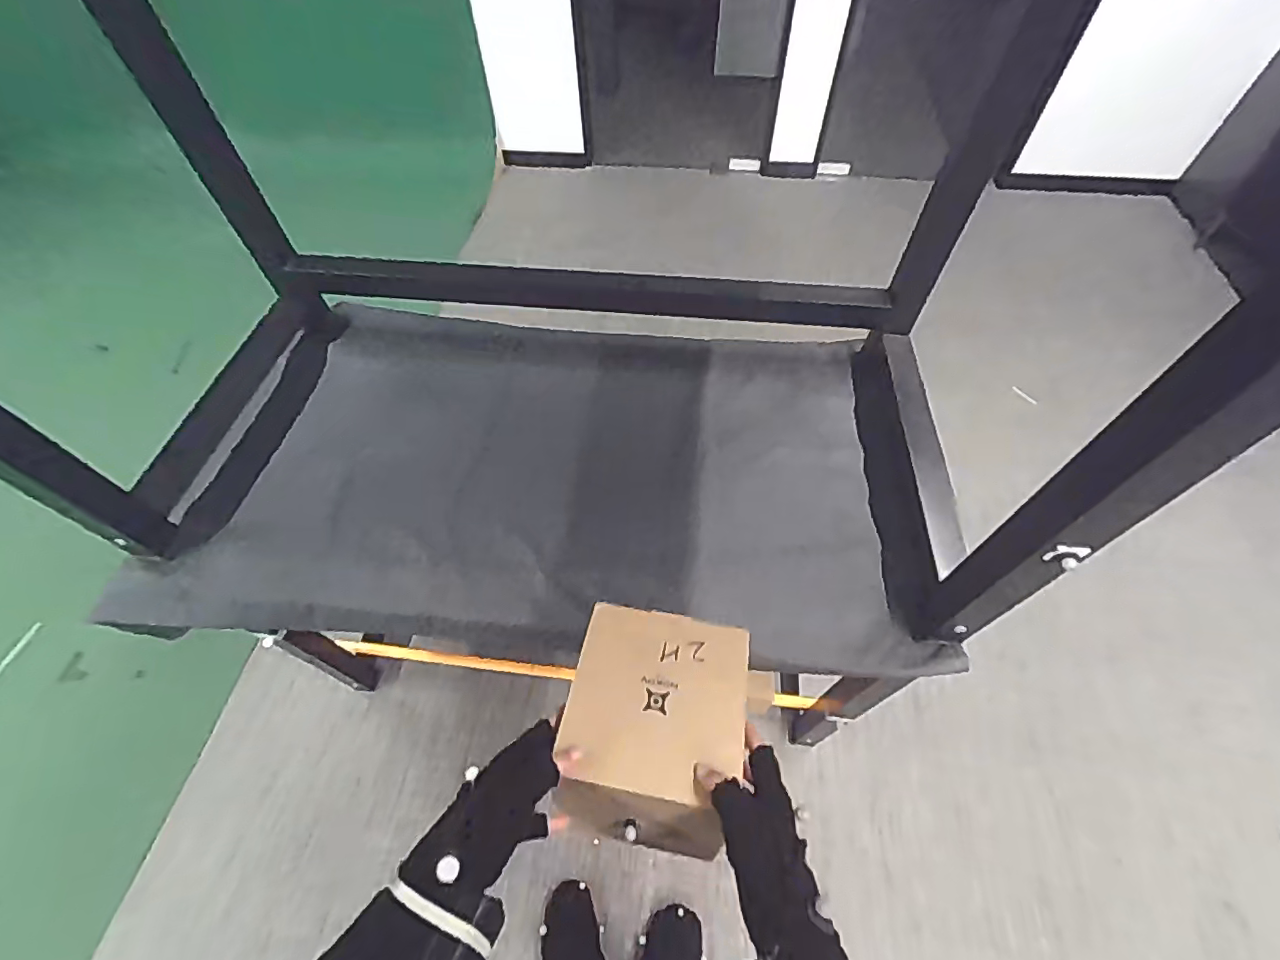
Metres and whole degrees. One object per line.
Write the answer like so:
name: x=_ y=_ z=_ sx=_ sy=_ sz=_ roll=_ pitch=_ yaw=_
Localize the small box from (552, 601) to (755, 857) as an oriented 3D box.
small box: x=0.019 y=0.256 z=0.557 sx=0.168 sy=0.176 sz=0.179 roll=10 pitch=43 yaw=6
